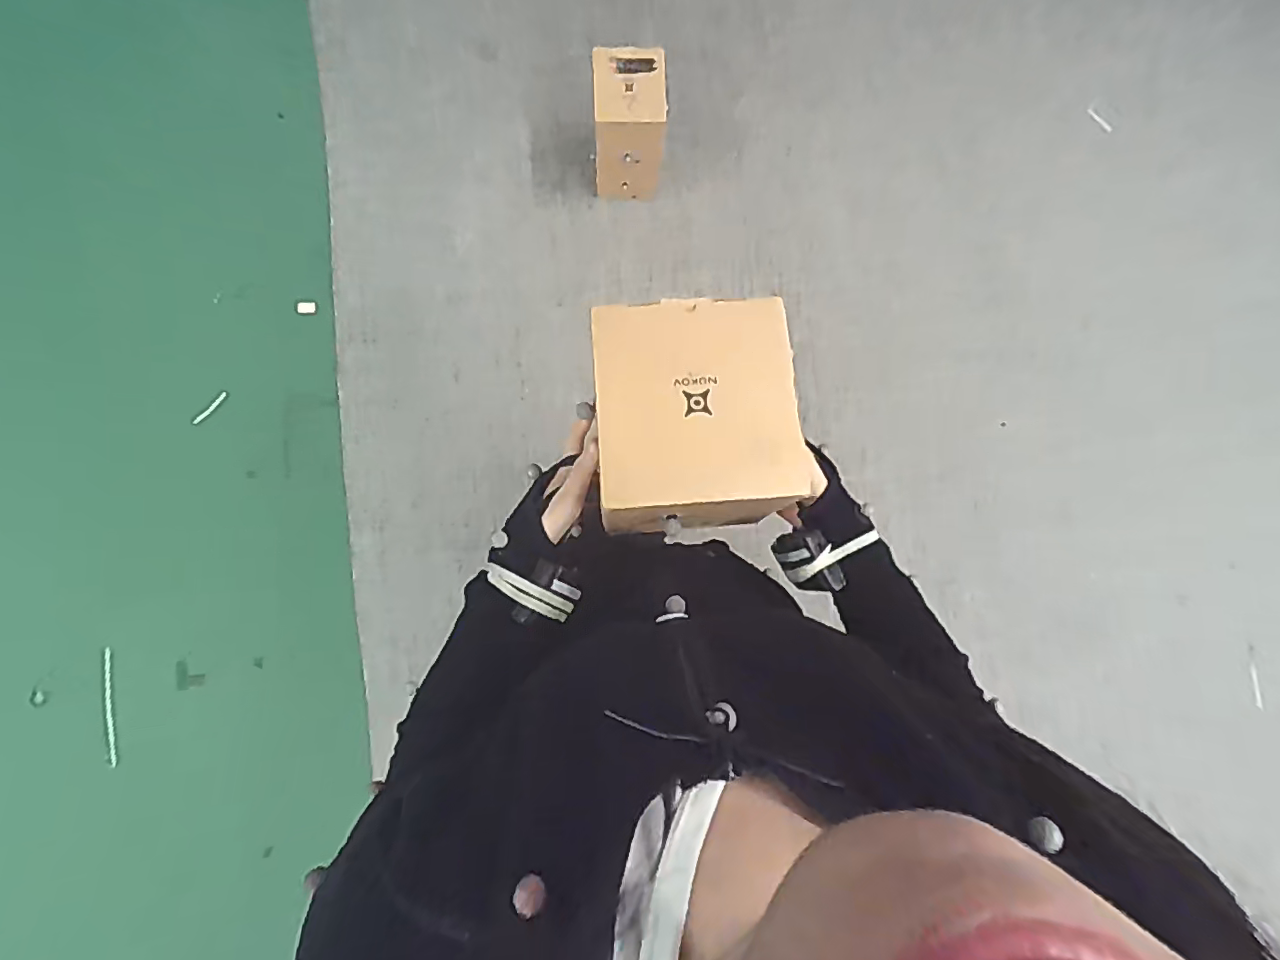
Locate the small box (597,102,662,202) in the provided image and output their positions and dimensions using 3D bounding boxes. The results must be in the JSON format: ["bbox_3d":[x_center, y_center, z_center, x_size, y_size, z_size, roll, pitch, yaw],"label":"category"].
[{"bbox_3d":[-0.029,-0.884,1.473,0.168,0.176,0.179,1,87,-3],"label":"small box"}]

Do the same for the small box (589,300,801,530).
[{"bbox_3d":[0.041,-0.048,0.522,0.168,0.176,0.179,-4,76,-3],"label":"small box"}]
